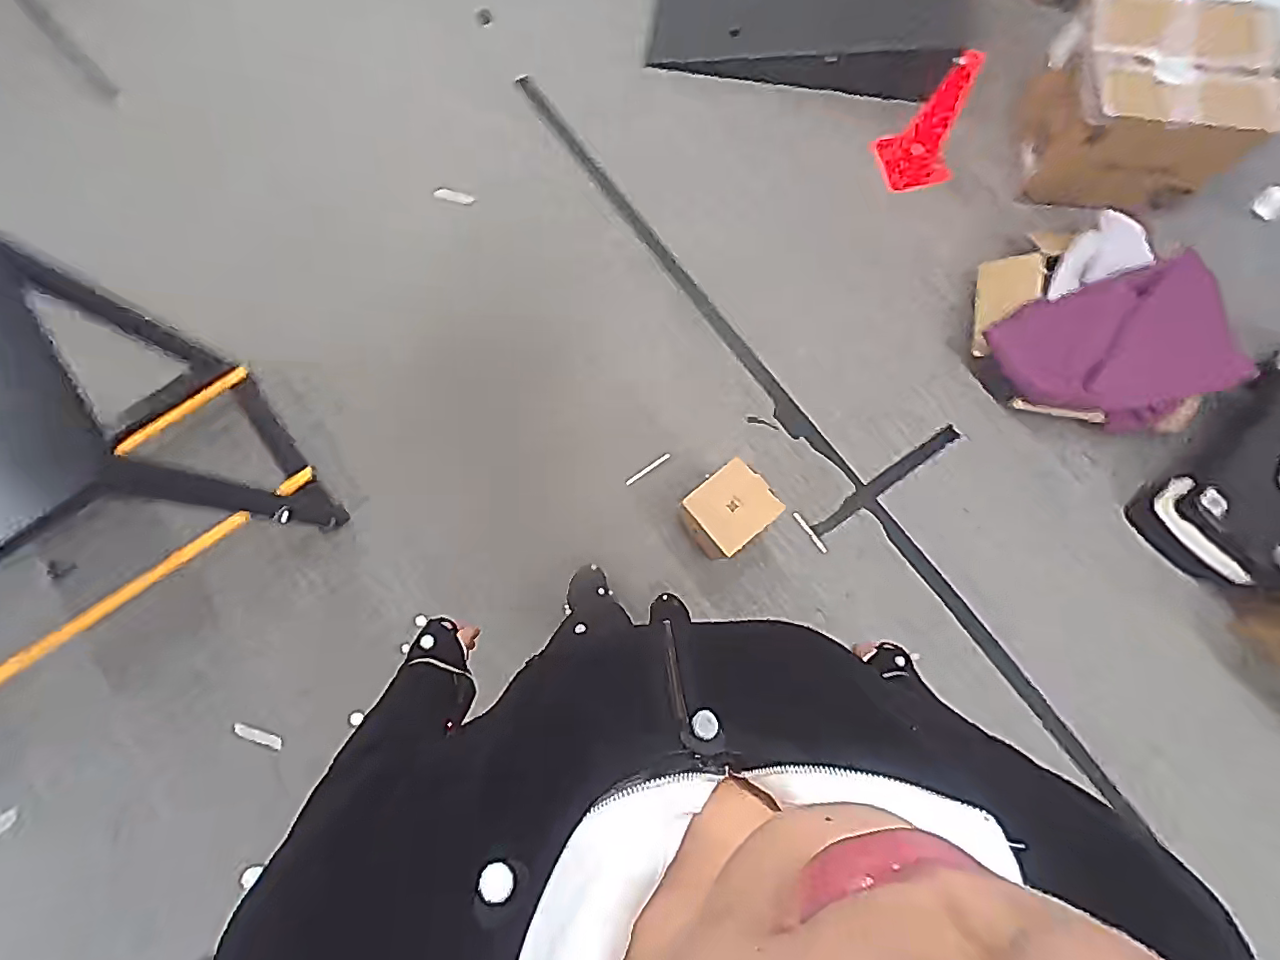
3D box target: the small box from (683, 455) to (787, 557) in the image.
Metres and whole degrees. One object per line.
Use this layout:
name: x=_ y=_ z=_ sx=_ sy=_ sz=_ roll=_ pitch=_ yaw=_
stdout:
small box: x=0.217 y=0.069 z=1.295 sx=0.179 sy=0.176 sz=0.168 roll=-39 pitch=80 yaw=-5

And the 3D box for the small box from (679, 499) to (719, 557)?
small box: x=0.219 y=0.093 z=1.456 sx=0.168 sy=0.176 sz=0.179 roll=-37 pitch=82 yaw=-5
